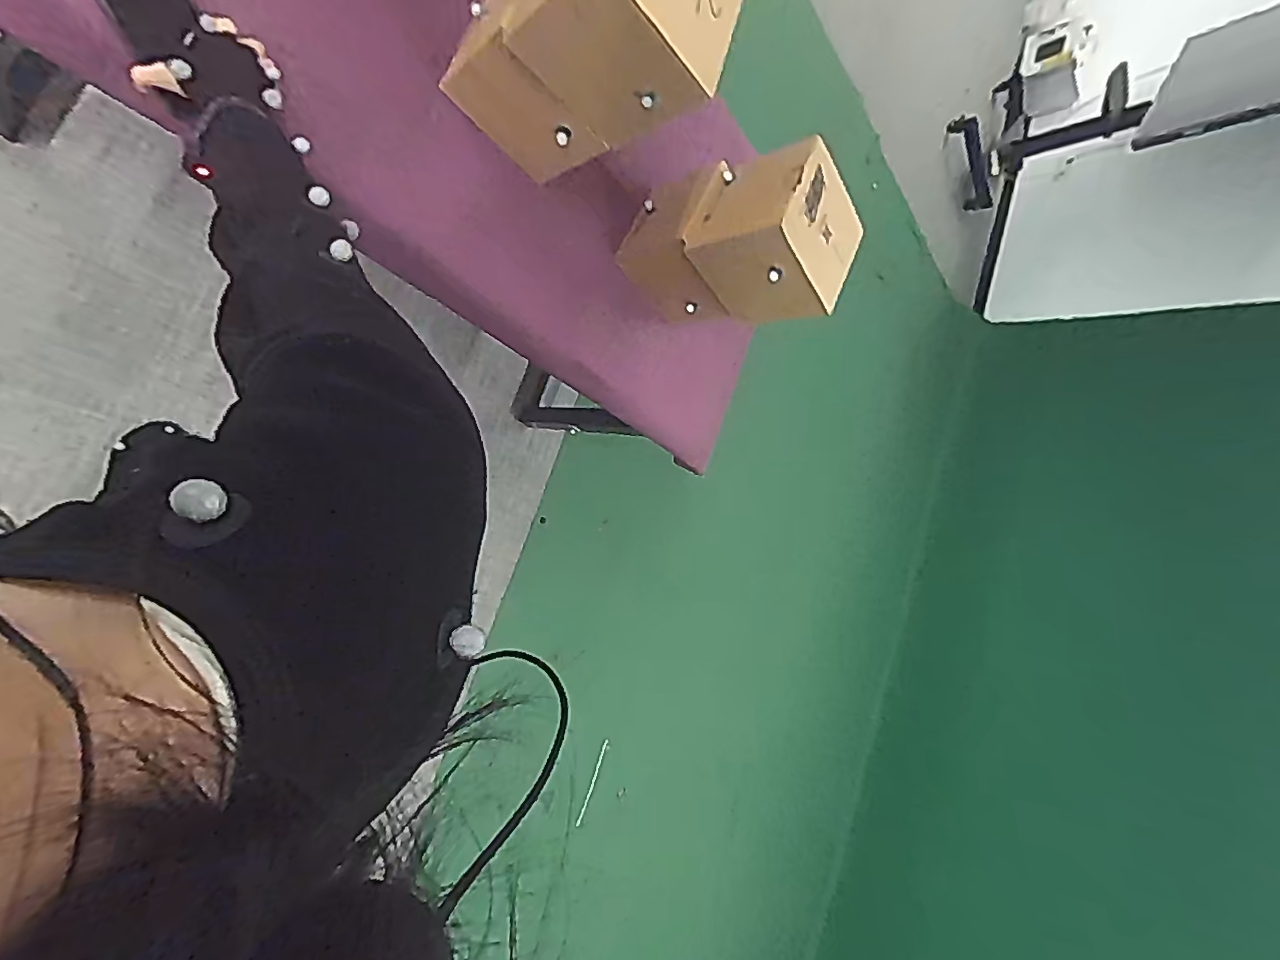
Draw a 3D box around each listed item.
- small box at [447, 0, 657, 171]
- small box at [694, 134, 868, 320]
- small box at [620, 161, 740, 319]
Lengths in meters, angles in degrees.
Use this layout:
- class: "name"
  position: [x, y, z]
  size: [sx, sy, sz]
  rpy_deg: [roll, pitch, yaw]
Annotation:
- class: "small box"
  position: [-0.115, -0.540, 0.707]
  size: [0.179, 0.176, 0.168]
  rpy_deg: [31, 75, -41]
- class: "small box"
  position: [0.210, -0.360, 0.811]
  size: [0.179, 0.176, 0.168]
  rpy_deg: [38, 70, -40]
- class: "small box"
  position: [0.100, -0.396, 0.928]
  size: [0.179, 0.176, 0.168]
  rpy_deg: [39, 70, -39]
